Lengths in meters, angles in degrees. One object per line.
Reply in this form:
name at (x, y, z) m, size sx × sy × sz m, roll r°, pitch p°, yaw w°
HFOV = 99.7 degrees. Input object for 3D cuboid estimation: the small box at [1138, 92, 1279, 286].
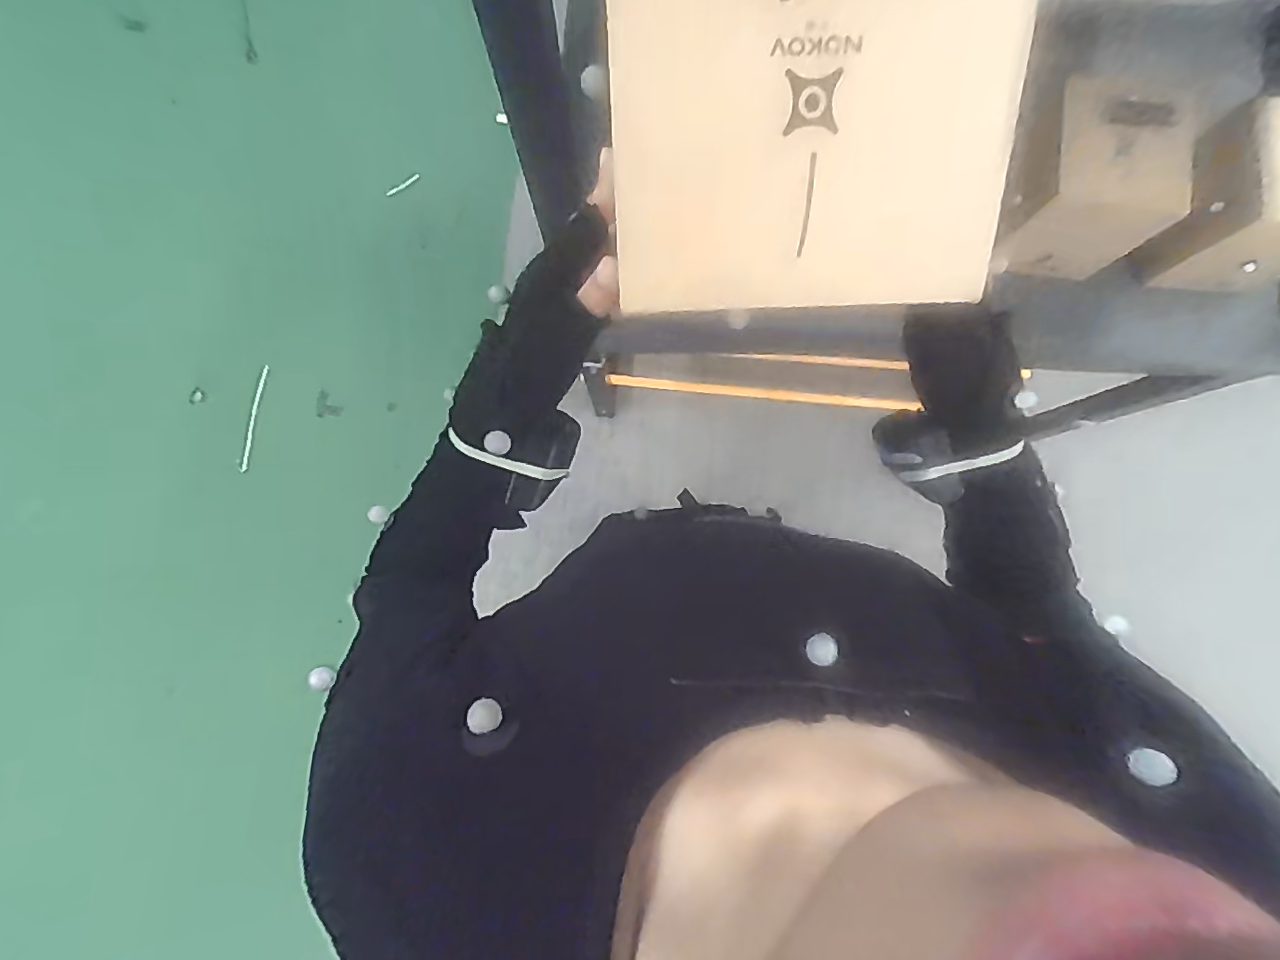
small box at (0.853, -0.393, 0.757) m, size 0.168 × 0.176 × 0.179 m, roll 5°, pitch 81°, yaw 0°
